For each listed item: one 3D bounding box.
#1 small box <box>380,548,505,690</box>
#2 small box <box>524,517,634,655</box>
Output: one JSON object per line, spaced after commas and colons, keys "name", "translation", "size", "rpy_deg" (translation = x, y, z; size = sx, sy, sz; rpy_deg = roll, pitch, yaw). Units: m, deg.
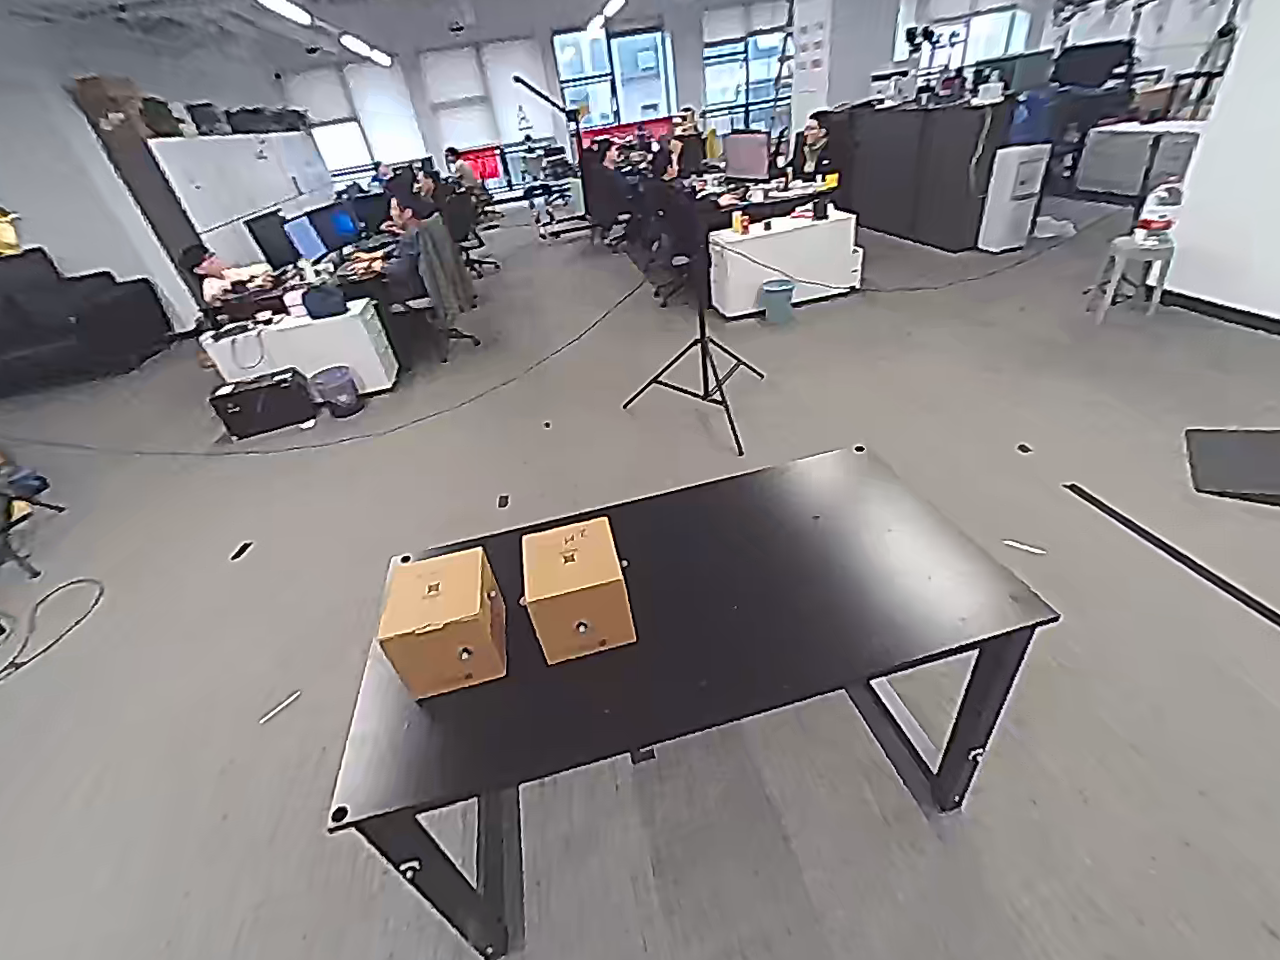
{"name": "small box", "translation": [-0.347, 0.256, 0.984], "size": [0.168, 0.176, 0.179], "rpy_deg": [-13, 34, -7]}
{"name": "small box", "translation": [-0.114, 0.201, 1.004], "size": [0.168, 0.176, 0.179], "rpy_deg": [-13, 35, -6]}
